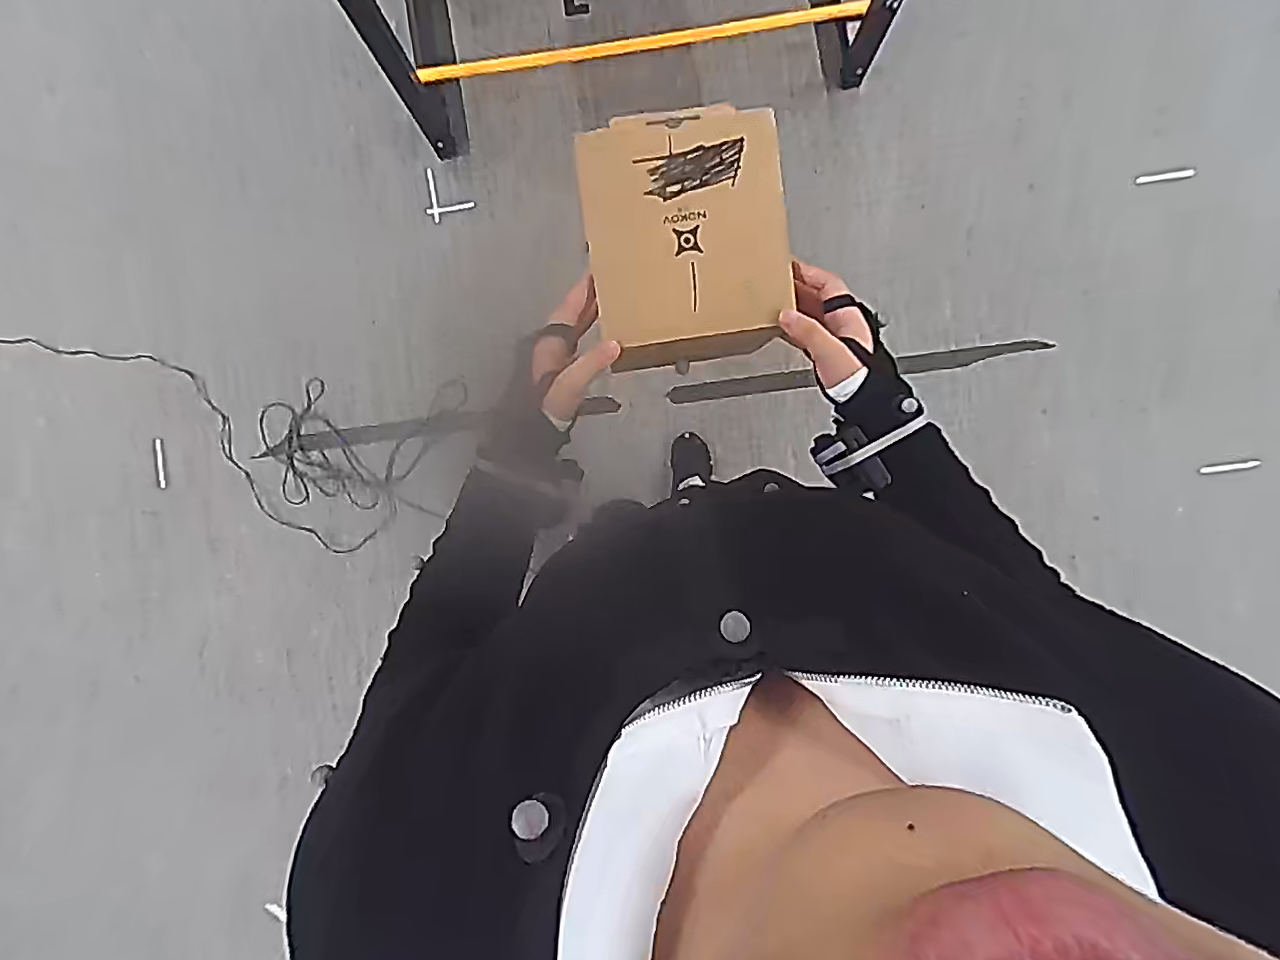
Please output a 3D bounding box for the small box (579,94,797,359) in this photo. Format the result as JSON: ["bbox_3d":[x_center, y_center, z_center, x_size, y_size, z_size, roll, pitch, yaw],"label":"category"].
[{"bbox_3d":[0.038,-0.225,0.525,0.168,0.176,0.179,-9,96,0],"label":"small box"}]
